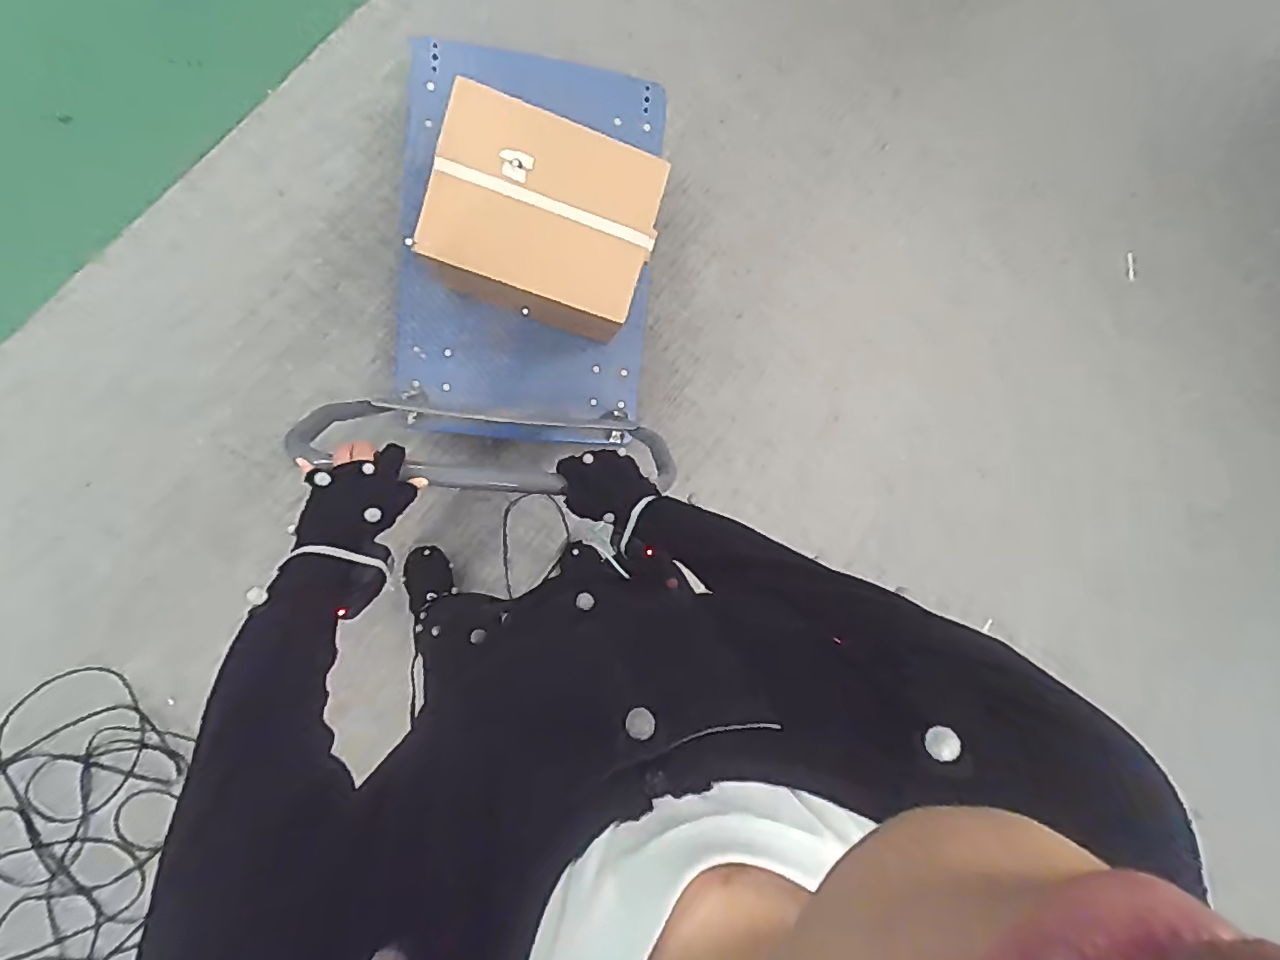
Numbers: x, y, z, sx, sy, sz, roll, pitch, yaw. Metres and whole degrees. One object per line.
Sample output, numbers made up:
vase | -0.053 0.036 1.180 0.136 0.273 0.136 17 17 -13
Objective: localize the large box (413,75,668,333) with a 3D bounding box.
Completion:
large box | -0.194 -0.531 1.133 0.408 0.320 0.320 17 95 -10
